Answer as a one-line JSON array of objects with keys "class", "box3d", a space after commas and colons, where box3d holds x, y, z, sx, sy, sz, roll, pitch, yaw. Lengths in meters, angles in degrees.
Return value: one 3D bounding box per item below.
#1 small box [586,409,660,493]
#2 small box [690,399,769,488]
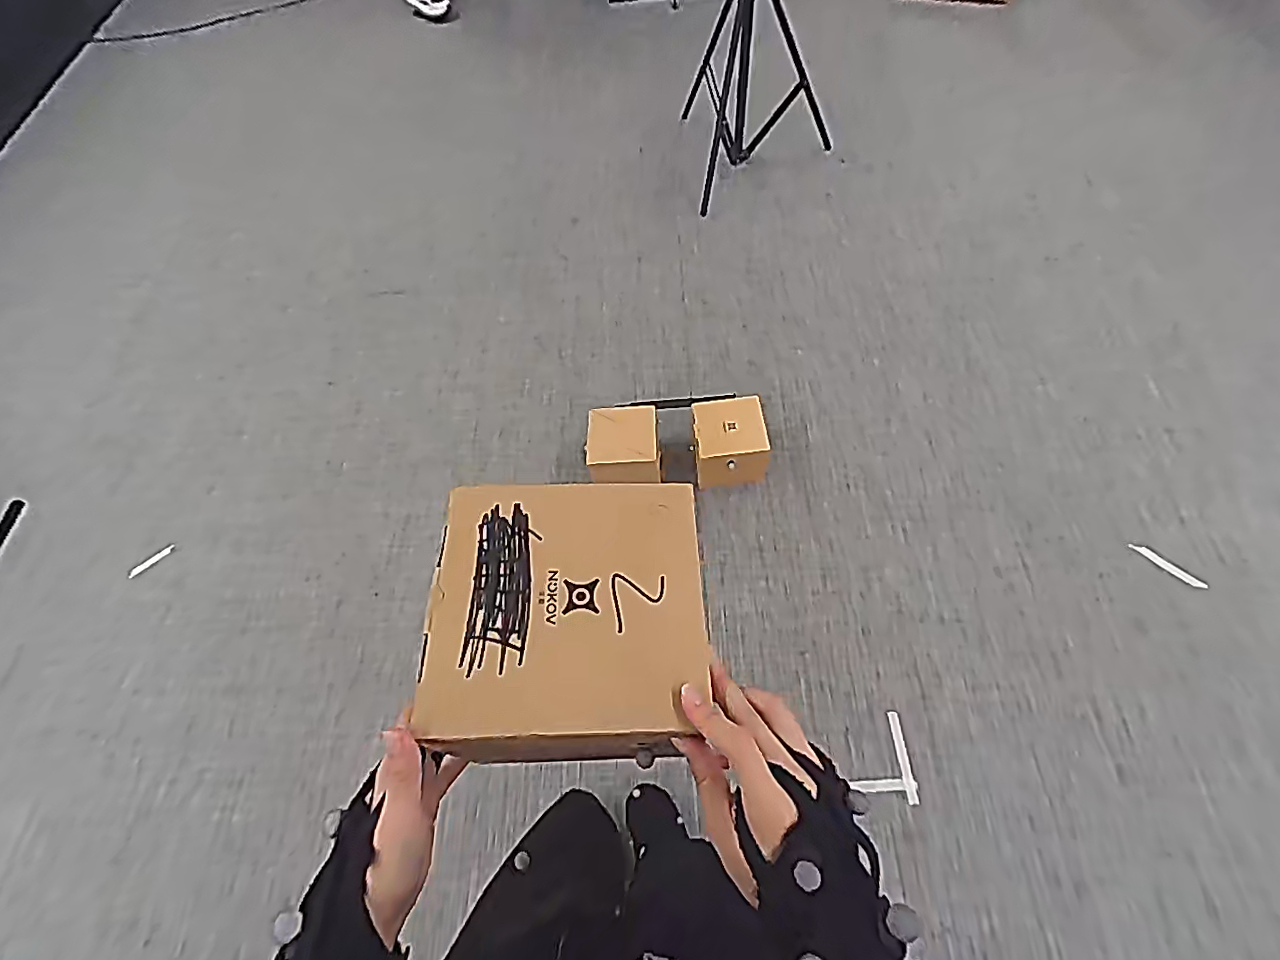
[{"class": "small box", "box3d": [-0.041, -0.076, 1.438, 0.179, 0.176, 0.168, -2, 63, 4]}, {"class": "small box", "box3d": [0.228, -0.093, 1.426, 0.179, 0.176, 0.168, -7, 62, 2]}]
